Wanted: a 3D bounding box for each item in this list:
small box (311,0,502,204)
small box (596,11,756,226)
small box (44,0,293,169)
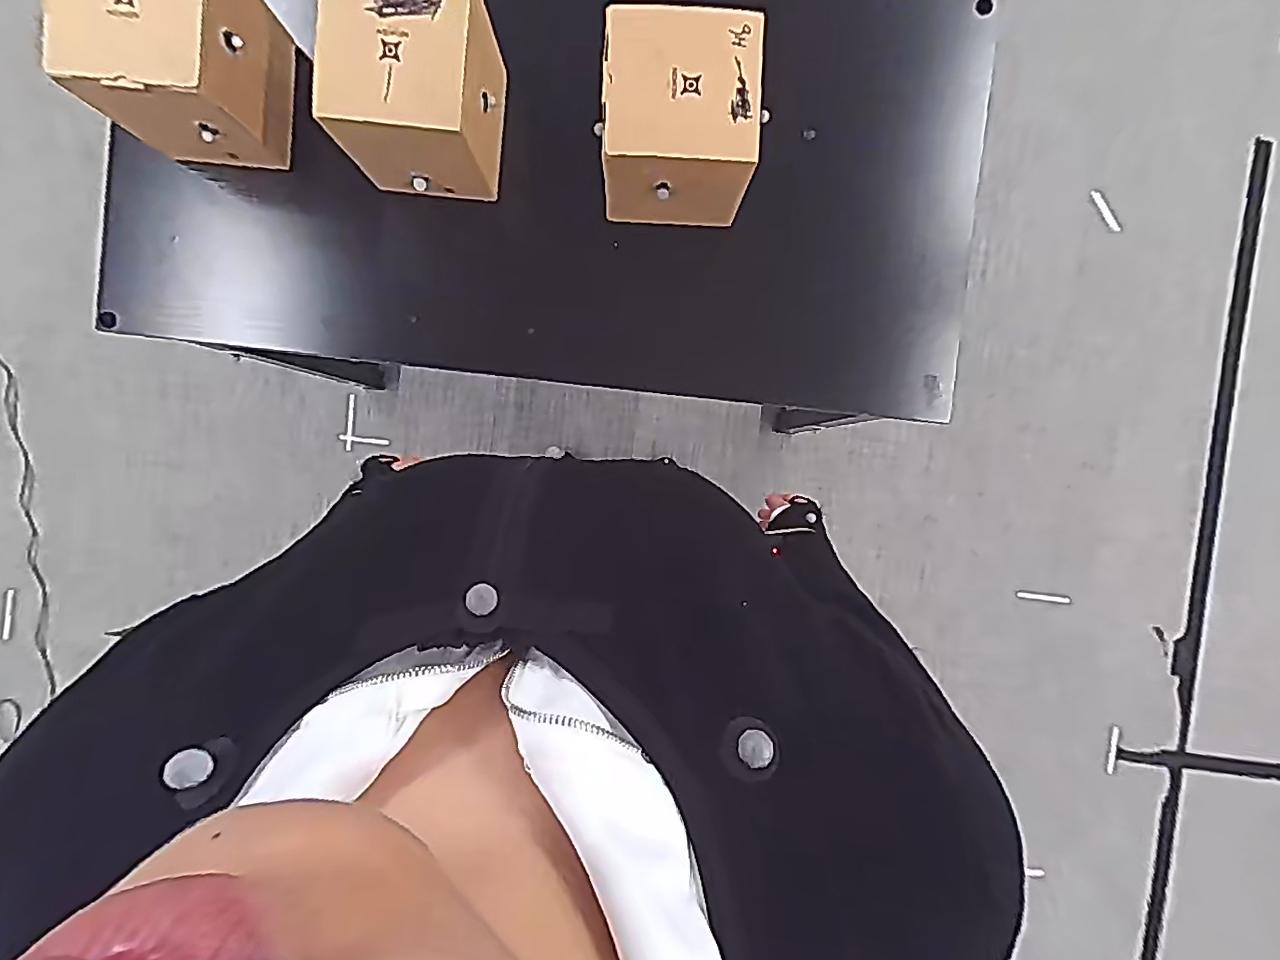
[{"bbox_3d":[-0.275,-0.478,0.674,0.168,0.176,0.179,5,92,-2],"label":"small box"},{"bbox_3d":[0.040,-0.439,0.684,0.179,0.176,0.168,2,92,-1],"label":"small box"},{"bbox_3d":[-0.560,-0.517,0.666,0.168,0.176,0.179,4,91,-3],"label":"small box"}]
